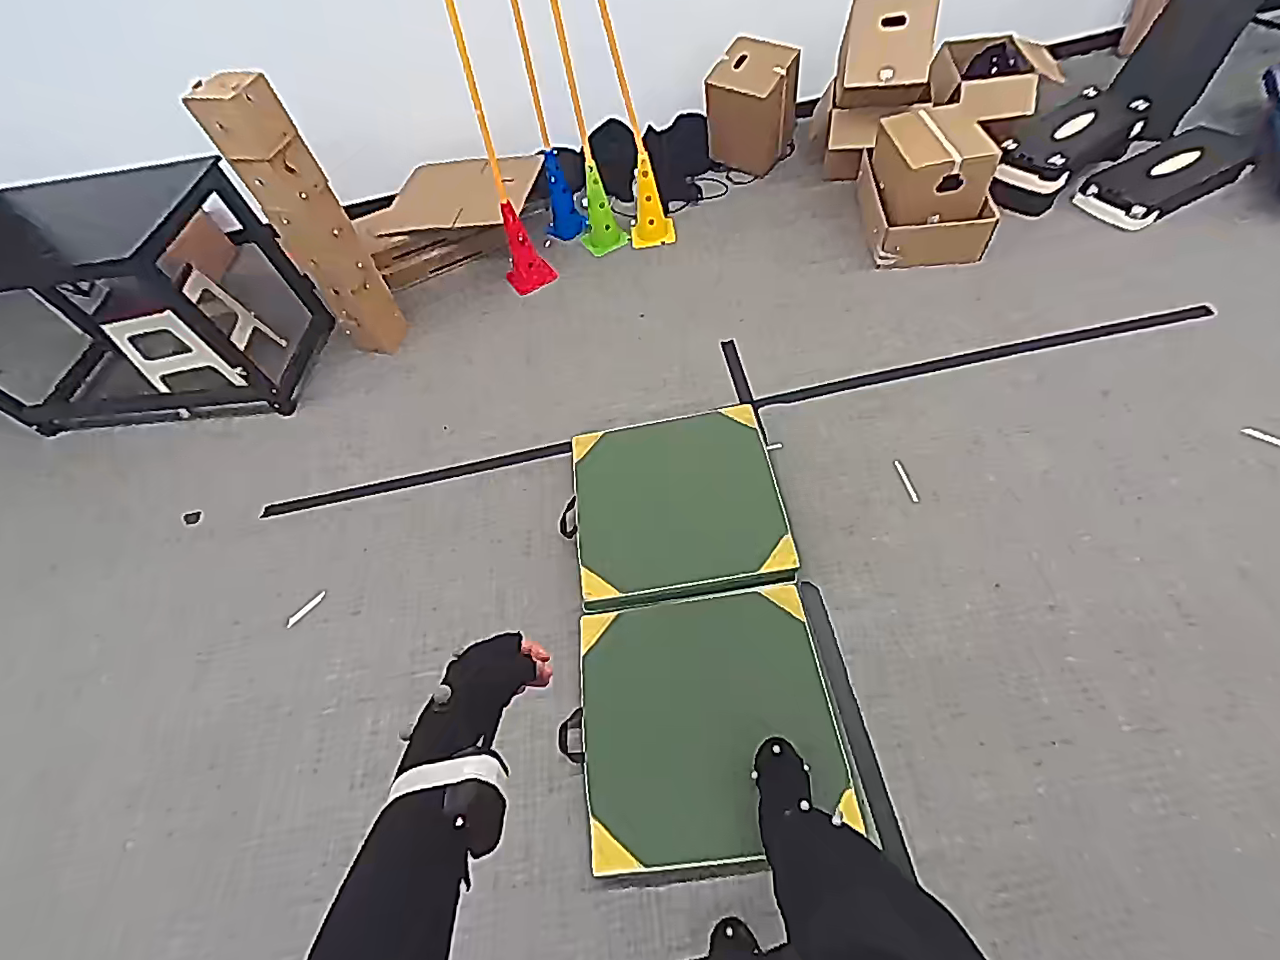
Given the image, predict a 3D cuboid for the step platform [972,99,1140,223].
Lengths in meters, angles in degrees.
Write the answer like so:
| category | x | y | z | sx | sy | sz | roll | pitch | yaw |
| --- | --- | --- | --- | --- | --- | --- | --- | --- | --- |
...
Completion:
| category | x | y | z | sx | sy | sz | roll | pitch | yaw |
| --- | --- | --- | --- | --- | --- | --- | --- | --- | --- |
| step platform | 1.768 | -1.367 | 2.301 | 0.684 | 0.204 | 0.286 | -36 | 58 | -14 |
